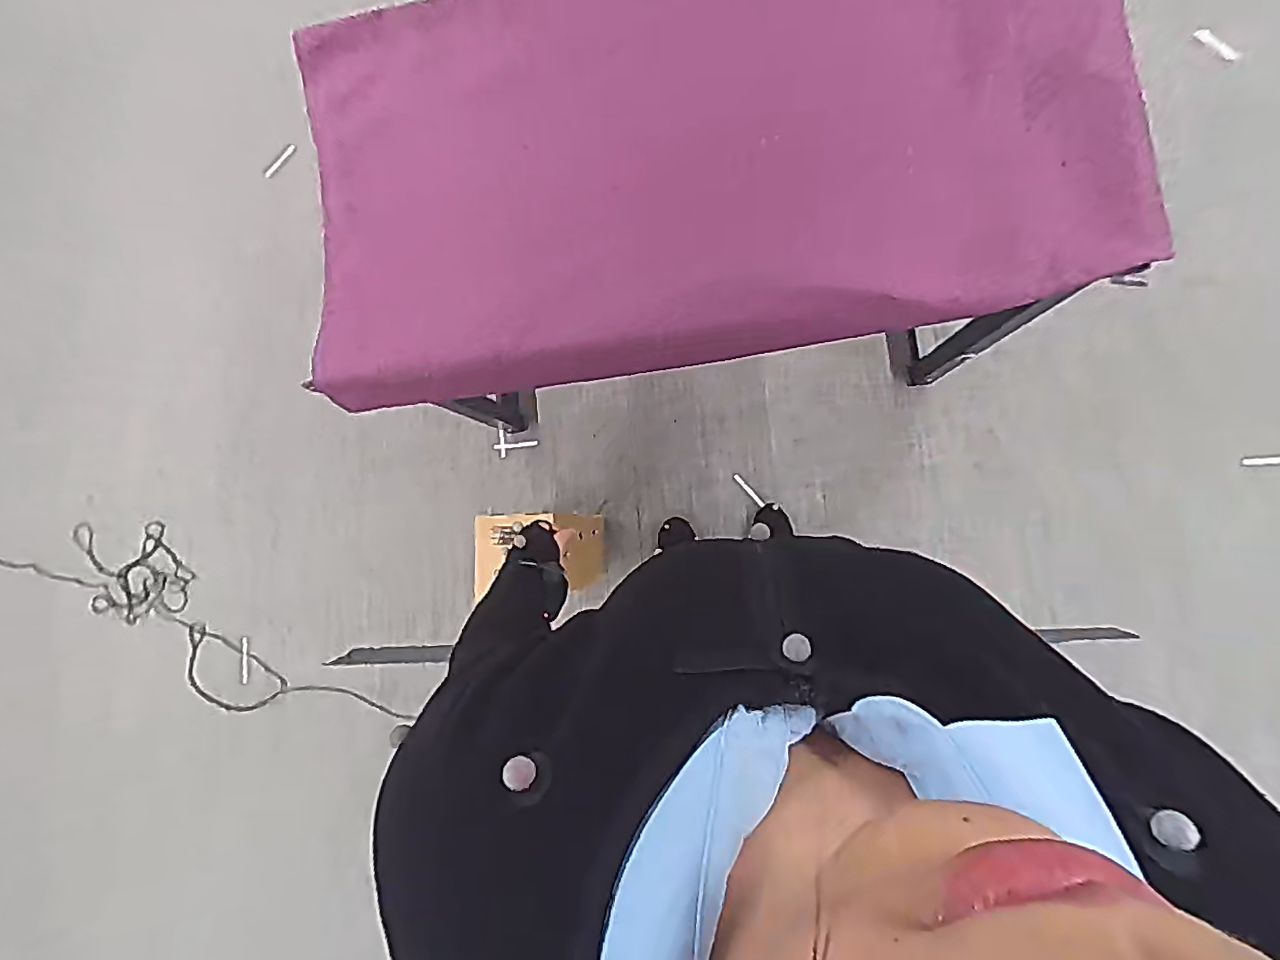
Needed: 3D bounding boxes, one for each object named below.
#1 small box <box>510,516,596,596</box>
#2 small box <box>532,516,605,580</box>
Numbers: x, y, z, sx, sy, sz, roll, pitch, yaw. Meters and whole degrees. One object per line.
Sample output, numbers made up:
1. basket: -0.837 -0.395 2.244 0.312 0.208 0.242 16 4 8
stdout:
1. small box: -0.207 0.180 1.315 0.168 0.176 0.179 -4 86 8
2. small box: -0.193 0.188 1.479 0.168 0.176 0.179 1 86 8
